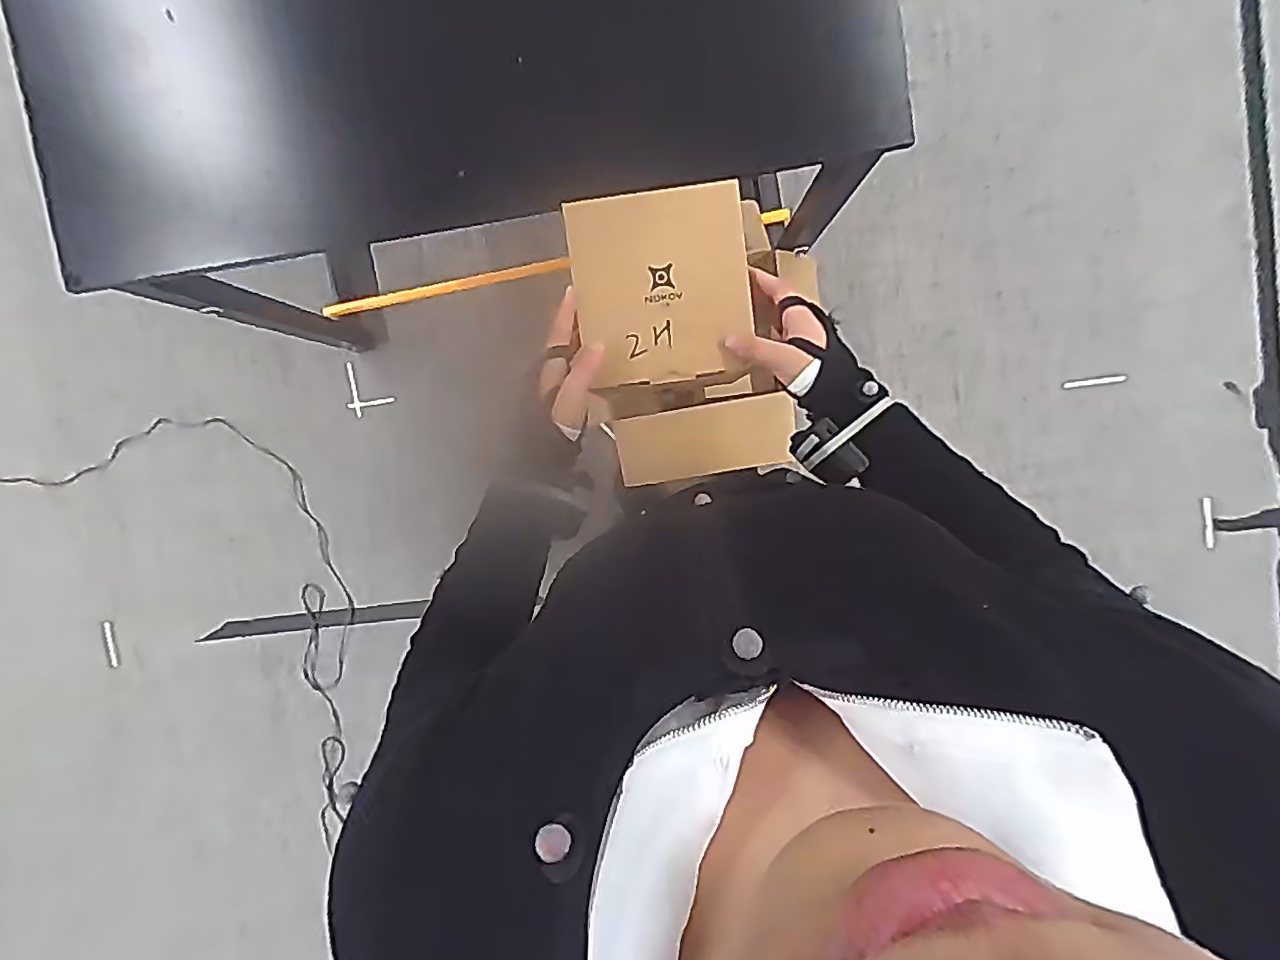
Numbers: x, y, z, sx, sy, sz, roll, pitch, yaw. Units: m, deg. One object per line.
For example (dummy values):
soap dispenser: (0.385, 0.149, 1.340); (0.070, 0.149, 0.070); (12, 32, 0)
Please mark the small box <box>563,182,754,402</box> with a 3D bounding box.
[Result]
small box: (0.019, -0.185, 0.582); (0.168, 0.176, 0.179); (-7, 94, 2)
